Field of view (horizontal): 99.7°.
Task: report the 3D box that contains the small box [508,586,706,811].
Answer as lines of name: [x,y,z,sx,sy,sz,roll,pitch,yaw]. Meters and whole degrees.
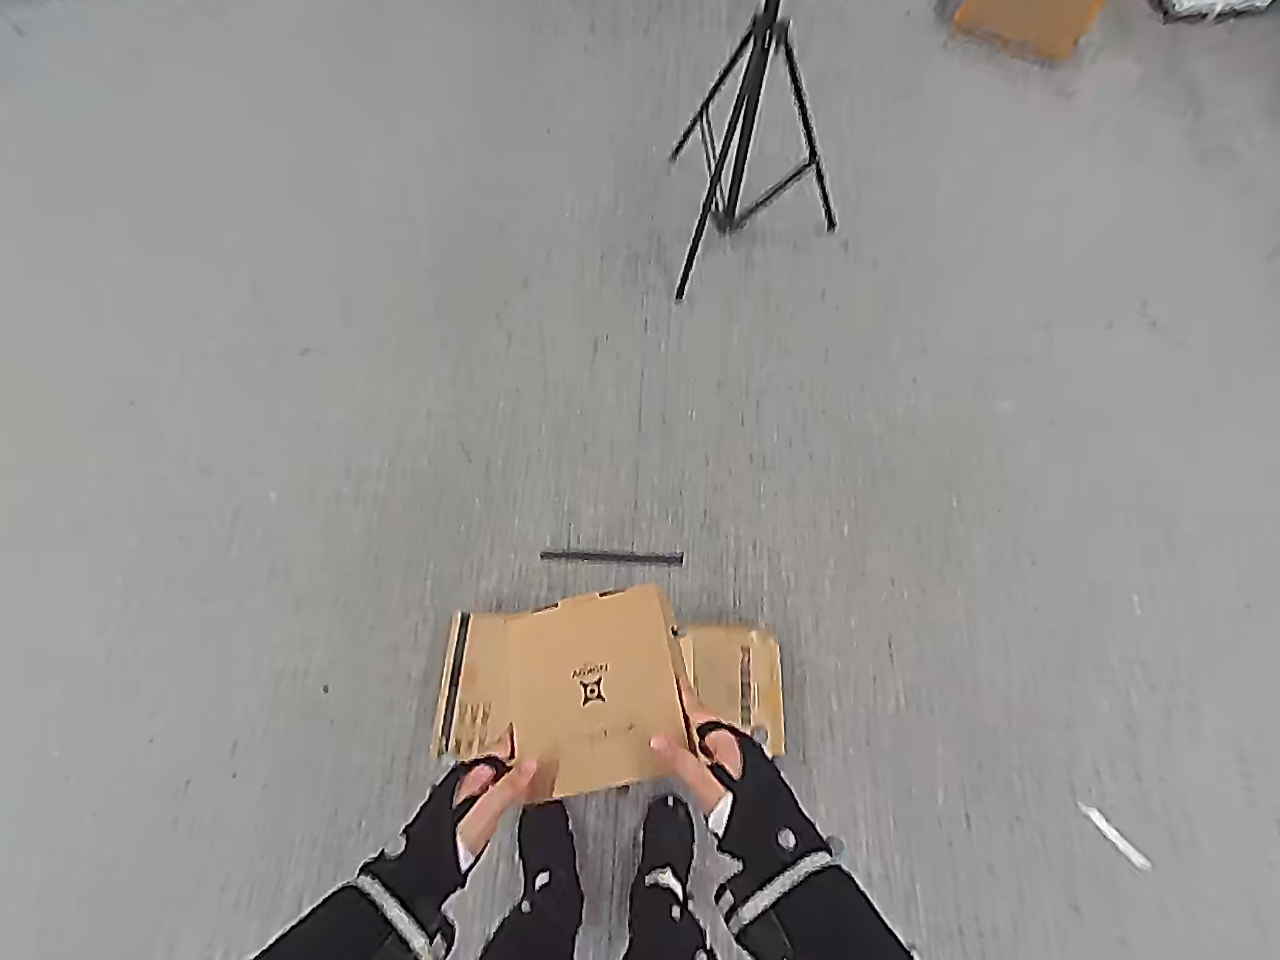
small box: [-0.029,0.233,0.583,0.168,0.176,0.179,-14,65,4]
